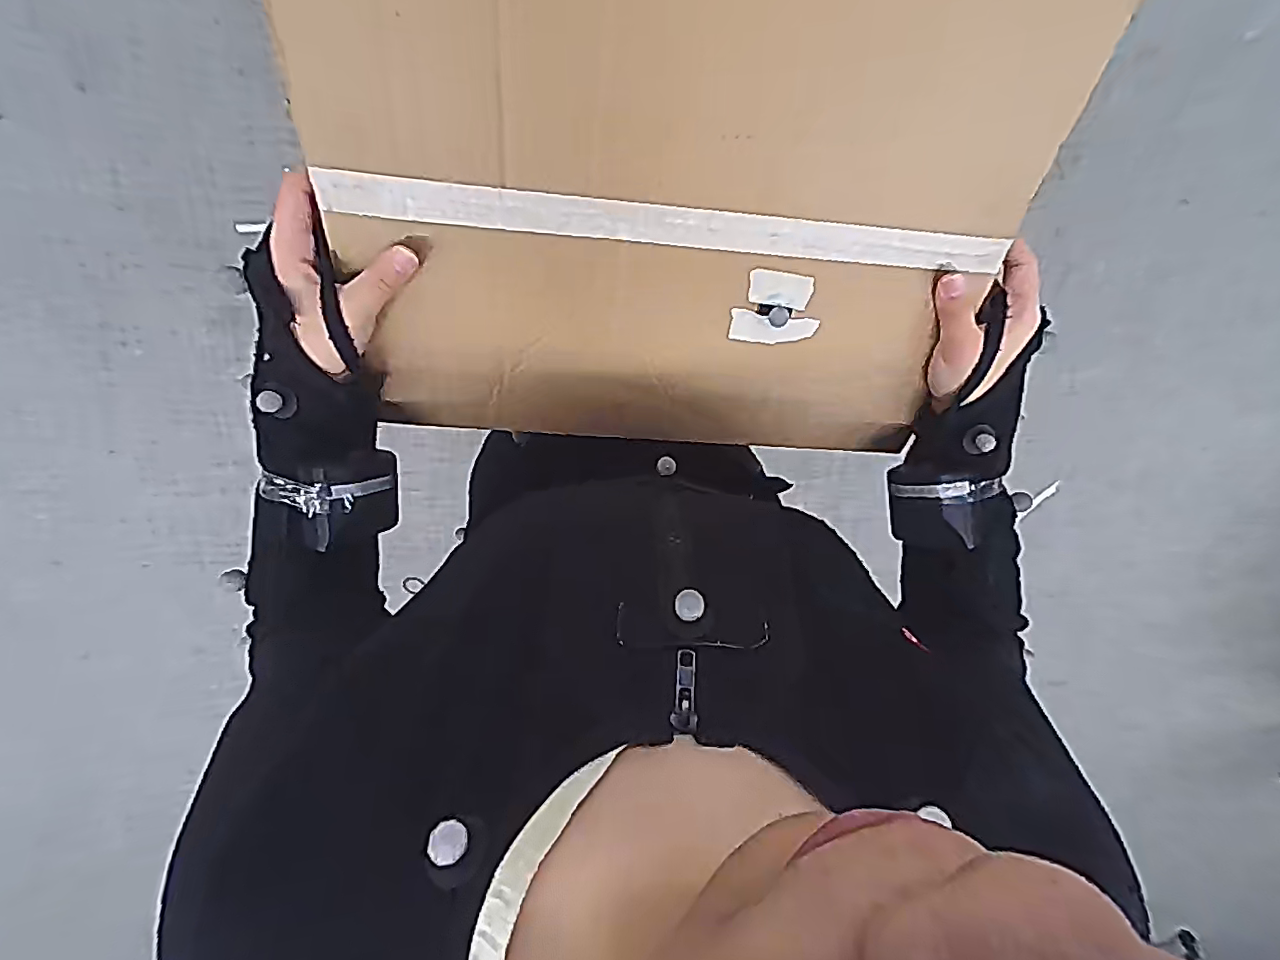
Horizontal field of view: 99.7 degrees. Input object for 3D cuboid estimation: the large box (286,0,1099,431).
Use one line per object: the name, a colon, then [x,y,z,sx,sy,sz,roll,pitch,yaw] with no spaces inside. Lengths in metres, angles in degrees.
large box: [0.012,-0.256,0.437,0.408,0.320,0.320,2,132,-7]
